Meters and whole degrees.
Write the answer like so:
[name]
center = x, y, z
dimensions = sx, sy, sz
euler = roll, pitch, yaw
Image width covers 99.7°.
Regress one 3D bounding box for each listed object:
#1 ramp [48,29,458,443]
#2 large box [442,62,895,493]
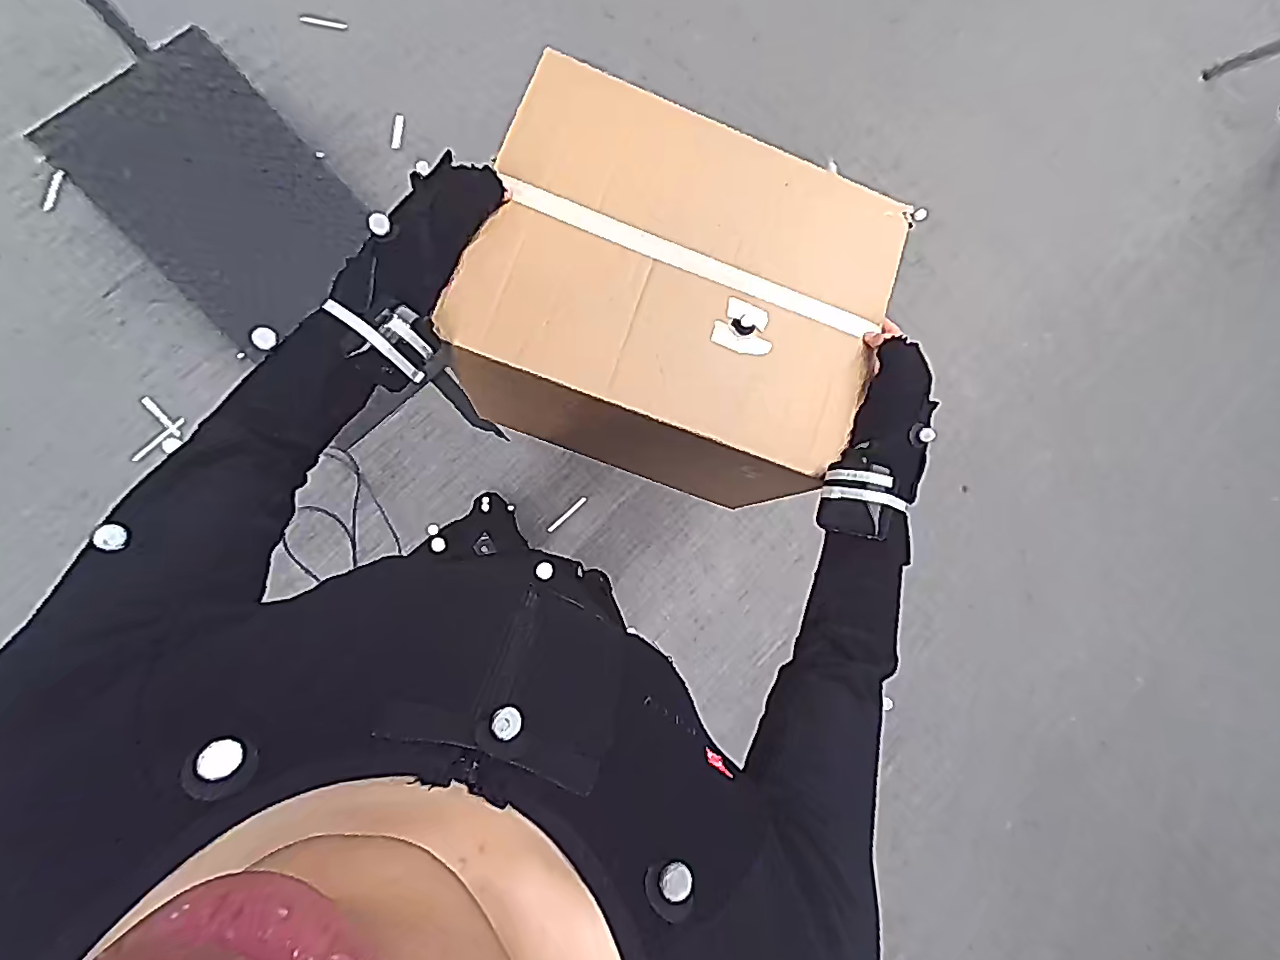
[ramp]
center = -0.932, -0.623, 1.426
dimensions = 0.991, 0.206, 0.509
euler = 45, 81, 0
[large box]
center = 0.023, -0.200, 0.681
dimensions = 0.408, 0.320, 0.320
euler = 19, 81, -6
